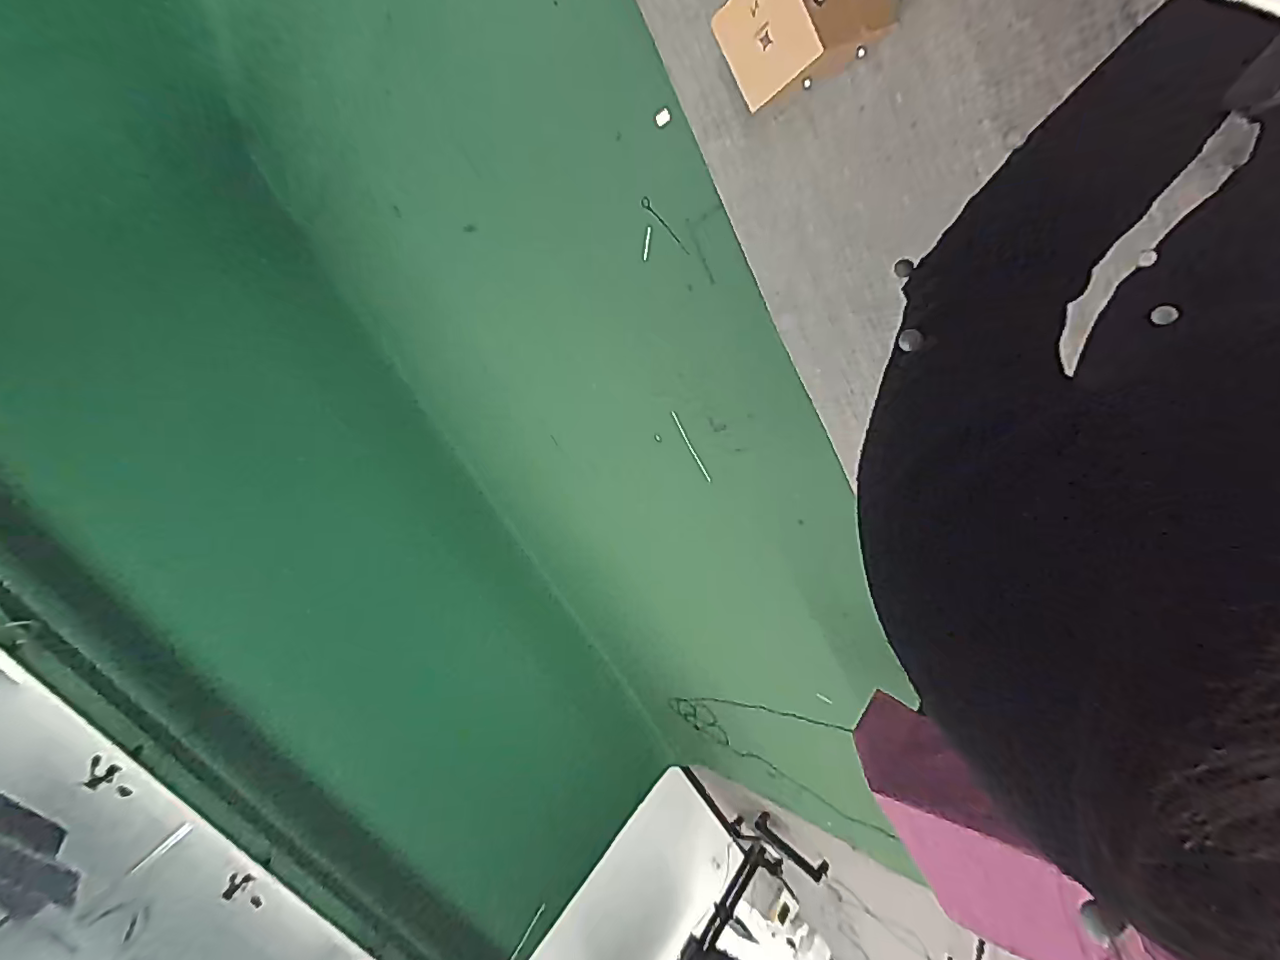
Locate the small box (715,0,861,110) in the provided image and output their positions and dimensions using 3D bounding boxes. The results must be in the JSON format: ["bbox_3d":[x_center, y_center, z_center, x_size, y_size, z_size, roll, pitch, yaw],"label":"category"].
[{"bbox_3d":[0.280,-0.842,1.005,0.168,0.176,0.179,-8,119,53],"label":"small box"}]

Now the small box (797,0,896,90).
[{"bbox_3d":[0.384,-0.939,1.086,0.168,0.176,0.179,-6,120,53],"label":"small box"}]
